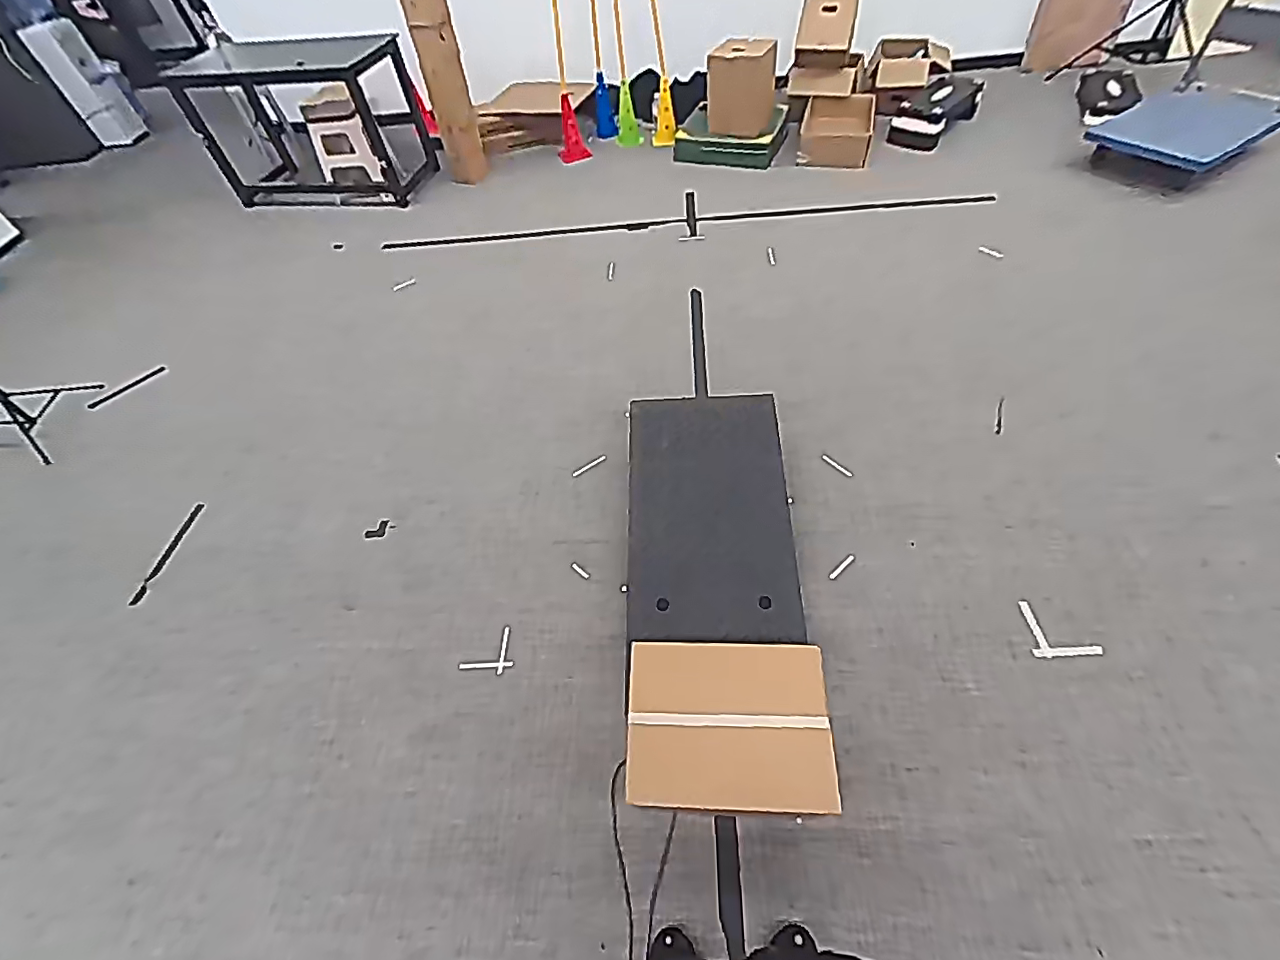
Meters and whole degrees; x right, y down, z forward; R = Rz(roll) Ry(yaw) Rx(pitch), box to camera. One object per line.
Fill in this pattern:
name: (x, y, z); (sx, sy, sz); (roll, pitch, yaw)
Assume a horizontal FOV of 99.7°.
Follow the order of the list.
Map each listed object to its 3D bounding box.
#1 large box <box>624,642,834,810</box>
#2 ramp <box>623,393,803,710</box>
large box: (0.183, 0.566, 1.227); (0.408, 0.320, 0.320); (0, 56, 5)
ramp: (0.200, 0.157, 1.629); (0.509, 0.206, 0.991); (-2, 52, 2)
